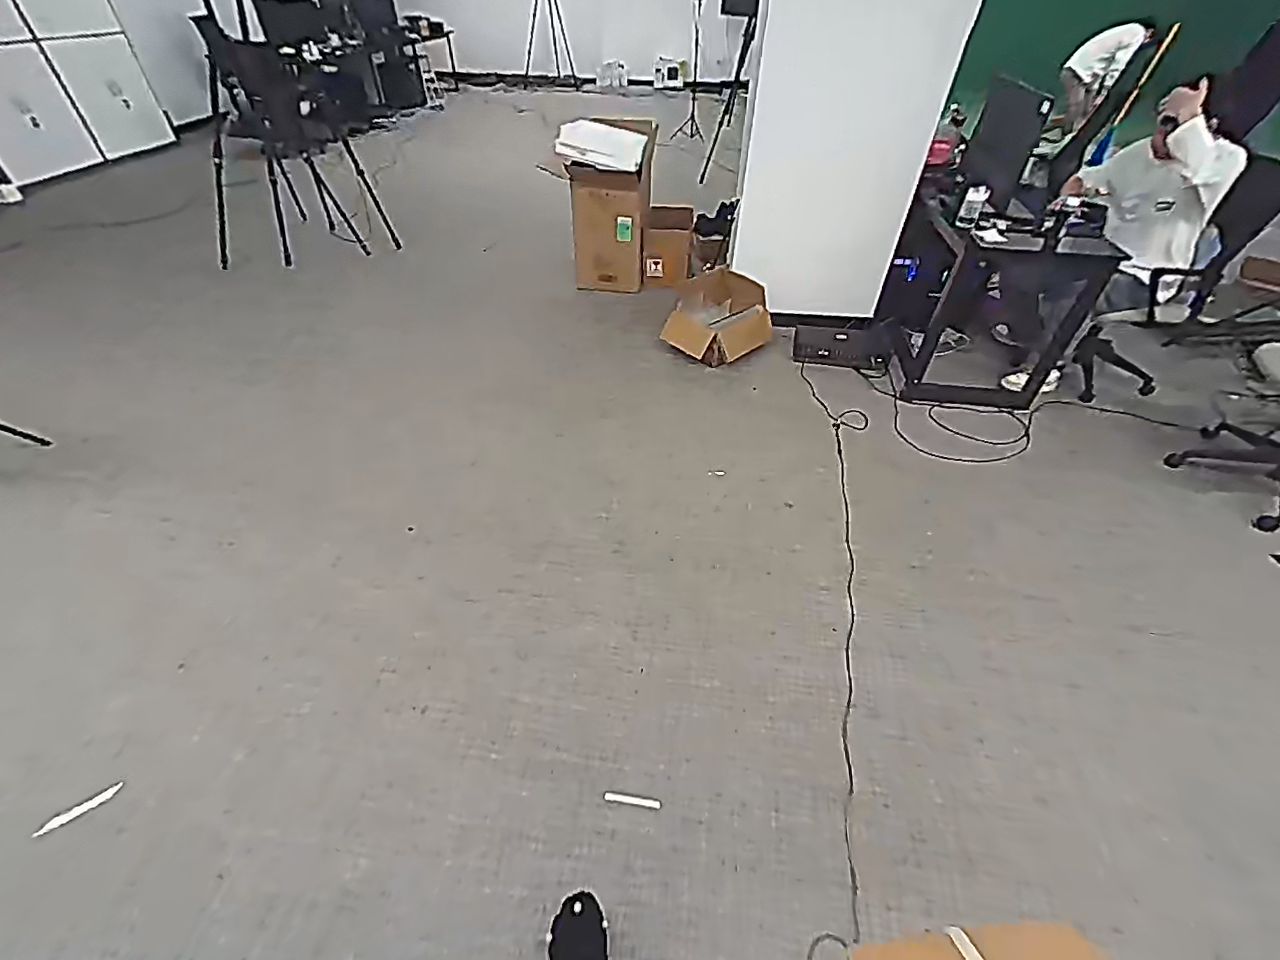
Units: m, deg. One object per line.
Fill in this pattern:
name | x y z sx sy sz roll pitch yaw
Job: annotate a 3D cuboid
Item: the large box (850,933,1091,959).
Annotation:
large box | 0.458 0.790 0.557 0.320 0.408 0.320 -8 87 2
